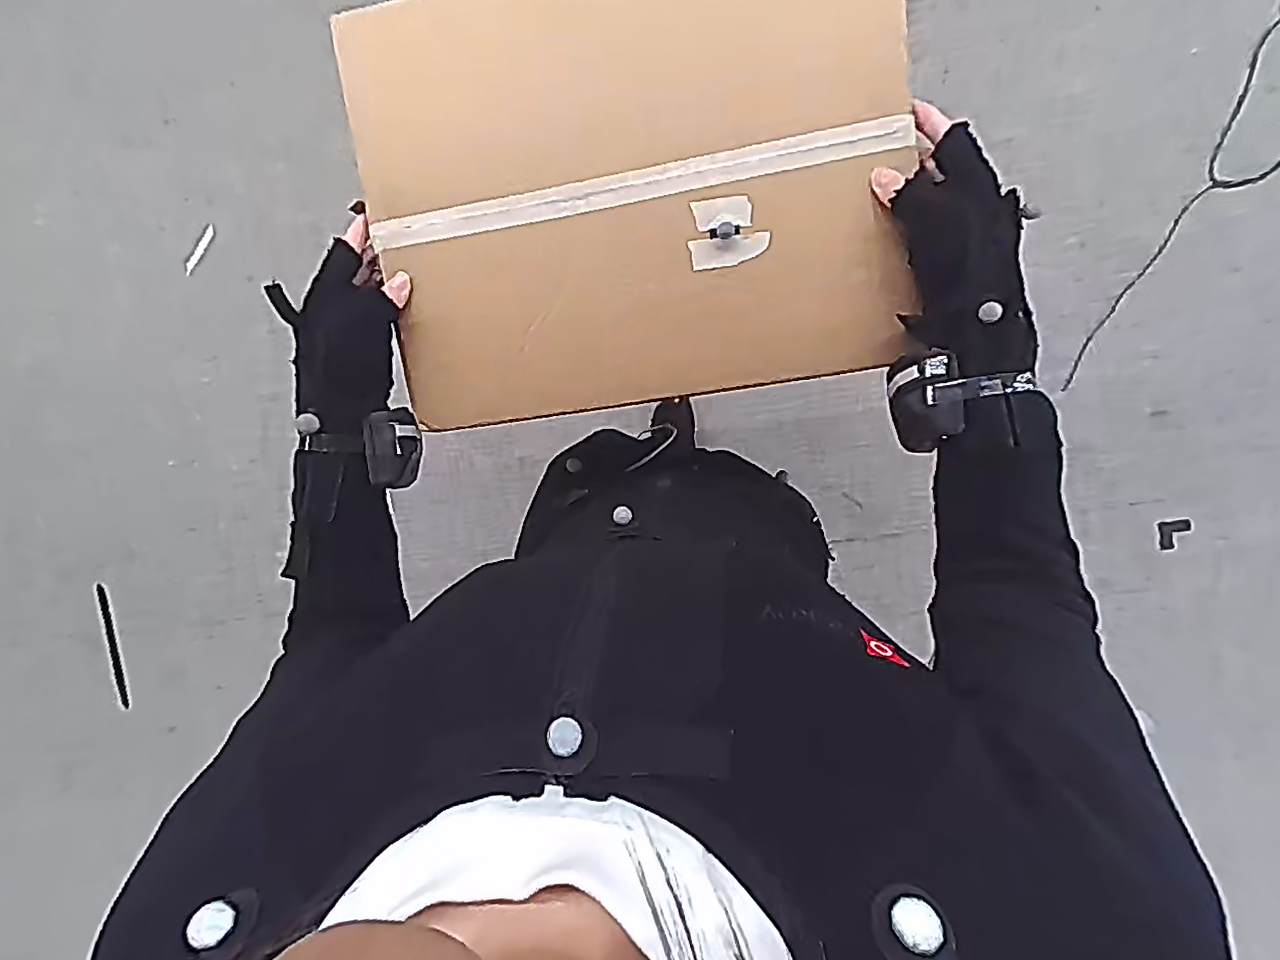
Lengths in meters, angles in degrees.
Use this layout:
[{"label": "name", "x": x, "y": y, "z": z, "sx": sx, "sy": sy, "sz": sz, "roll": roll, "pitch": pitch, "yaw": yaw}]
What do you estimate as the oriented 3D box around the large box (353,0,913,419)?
[{"label": "large box", "x": 0.006, "y": -0.253, "z": 0.562, "sx": 0.408, "sy": 0.320, "sz": 0.320, "roll": -7, "pitch": 100, "yaw": 7}]
